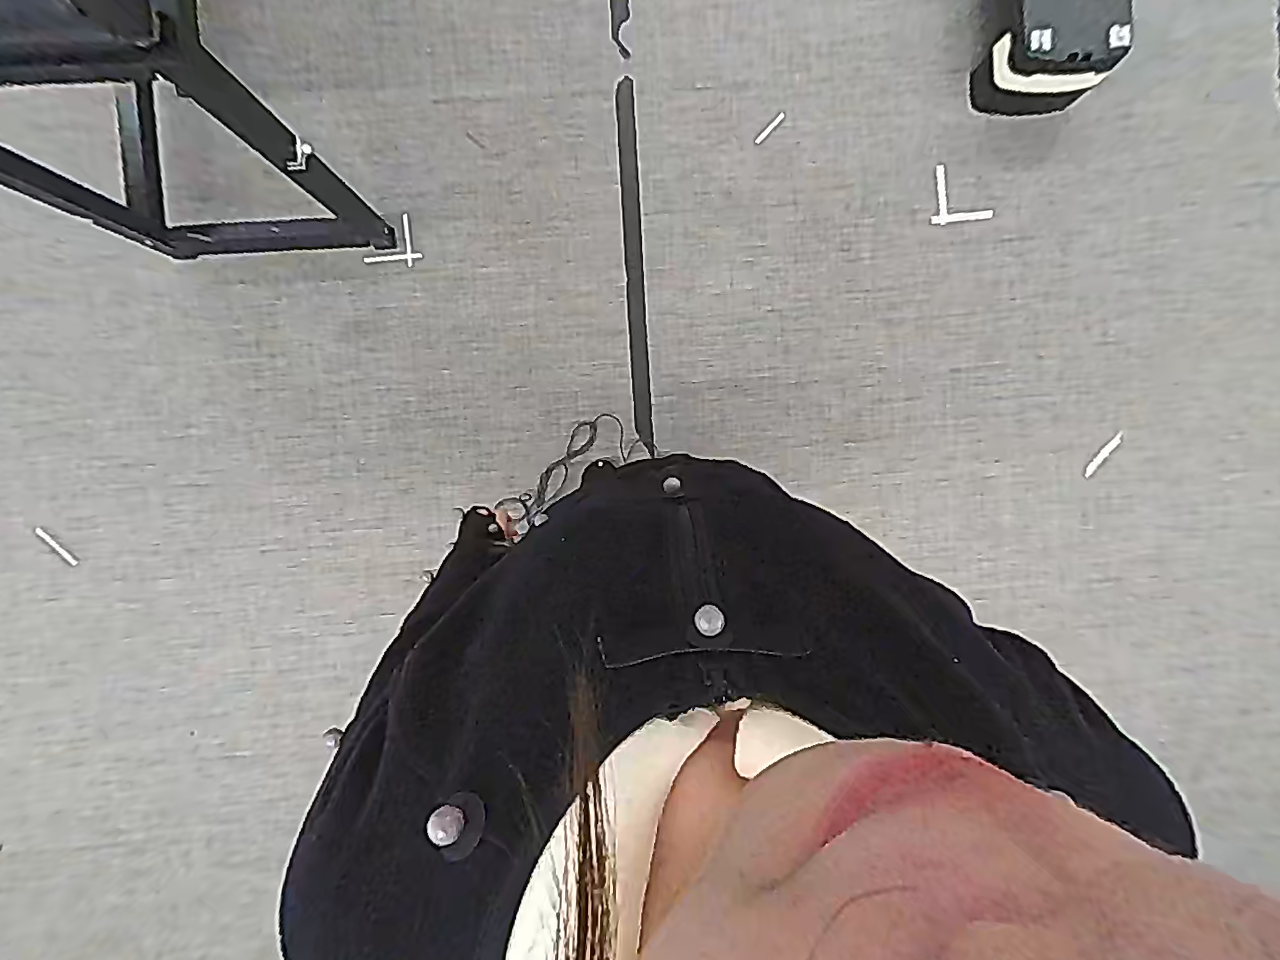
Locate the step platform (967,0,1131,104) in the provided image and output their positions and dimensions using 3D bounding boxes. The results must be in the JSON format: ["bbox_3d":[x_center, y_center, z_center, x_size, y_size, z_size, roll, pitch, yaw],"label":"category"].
[{"bbox_3d":[1.037,-1.357,1.354,0.286,0.204,0.684,2,92,-2],"label":"step platform"}]
